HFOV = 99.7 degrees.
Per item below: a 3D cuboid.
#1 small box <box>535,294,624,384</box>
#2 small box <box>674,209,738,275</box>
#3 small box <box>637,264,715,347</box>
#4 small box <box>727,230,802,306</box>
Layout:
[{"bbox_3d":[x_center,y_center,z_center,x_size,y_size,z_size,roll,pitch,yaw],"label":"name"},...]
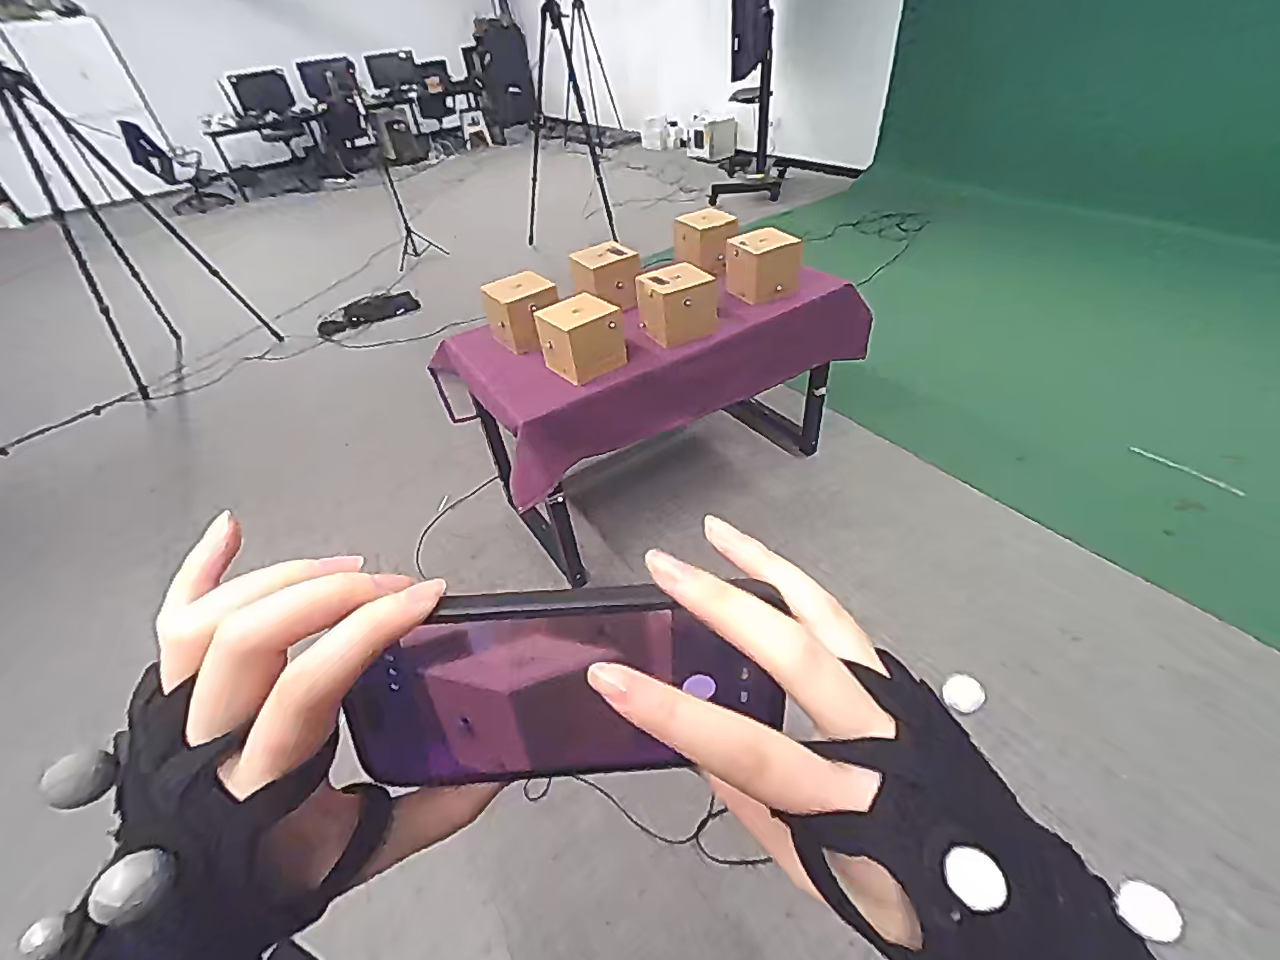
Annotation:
[{"bbox_3d":[-0.159,-0.386,1.490,0.179,0.176,0.168,-31,47,-26],"label":"small box"},{"bbox_3d":[0.236,-0.858,1.960,0.168,0.176,0.179,-25,46,-18],"label":"small box"},{"bbox_3d":[0.108,-0.512,1.594,0.179,0.176,0.168,-22,44,-18],"label":"small box"},{"bbox_3d":[0.396,-0.687,1.751,0.179,0.176,0.168,-22,44,-17],"label":"small box"}]
